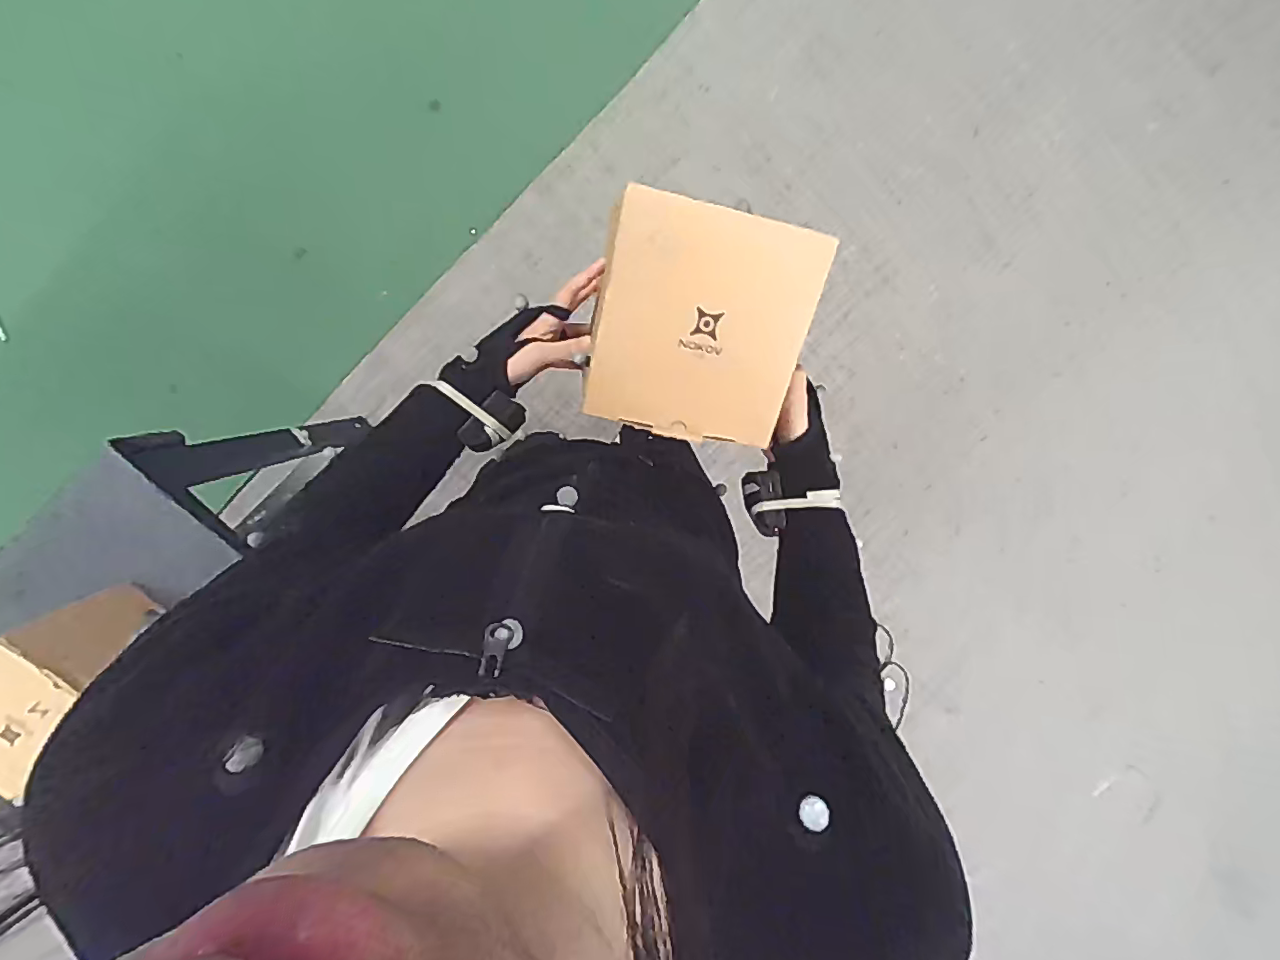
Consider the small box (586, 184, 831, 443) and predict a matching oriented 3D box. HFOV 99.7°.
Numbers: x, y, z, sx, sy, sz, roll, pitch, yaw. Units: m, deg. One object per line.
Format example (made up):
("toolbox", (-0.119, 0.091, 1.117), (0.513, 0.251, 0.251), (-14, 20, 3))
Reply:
("small box", (0.043, -0.154, 0.501), (0.168, 0.176, 0.179), (8, 114, -9))
